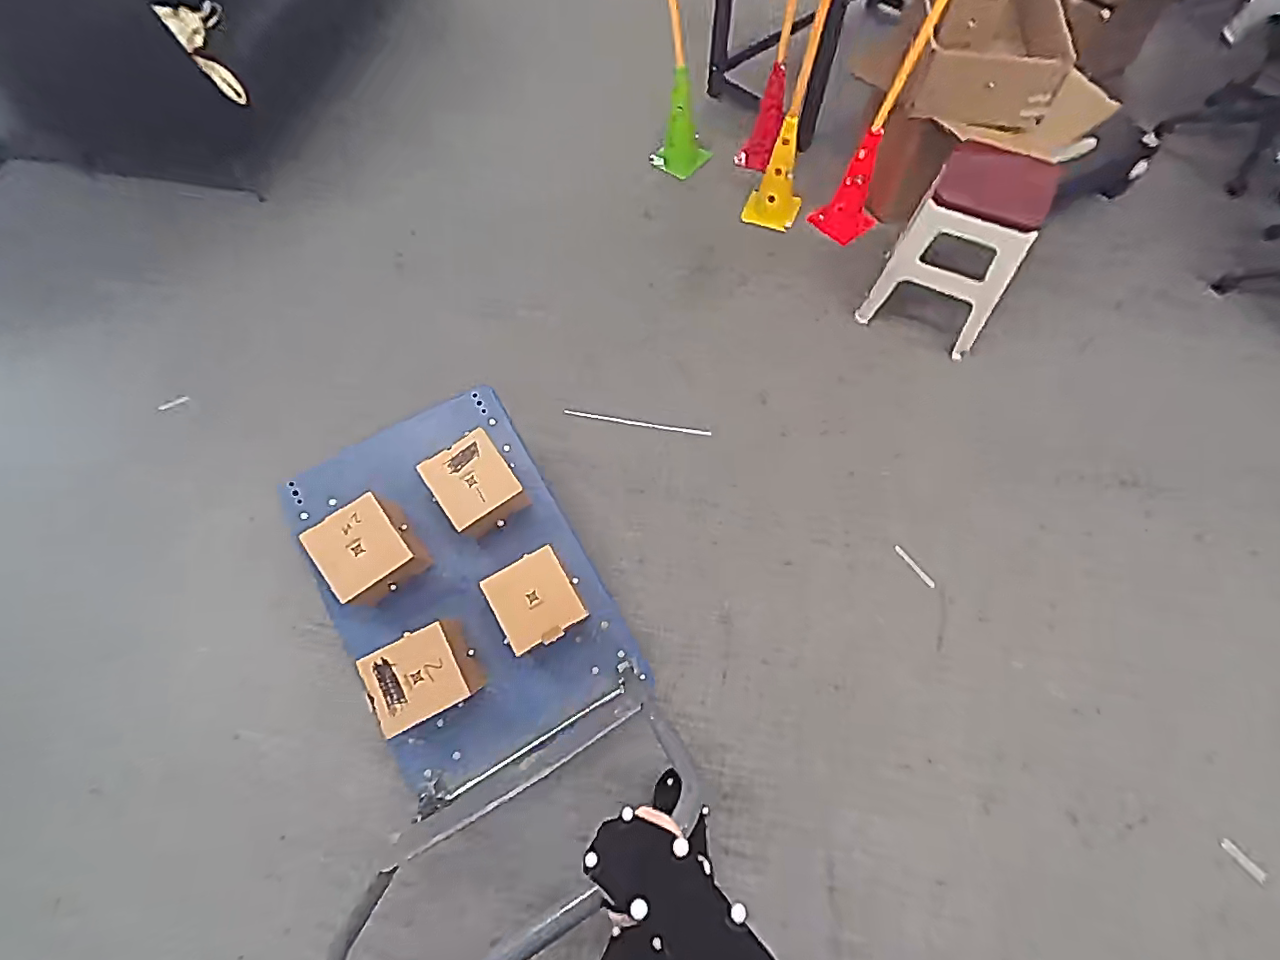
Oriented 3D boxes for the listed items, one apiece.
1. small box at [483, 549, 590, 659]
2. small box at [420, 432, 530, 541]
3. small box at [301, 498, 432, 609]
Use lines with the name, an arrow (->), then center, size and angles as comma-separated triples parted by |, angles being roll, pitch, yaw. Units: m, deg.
small box -> -0.226, 0.275, 1.203 | 0.168, 0.176, 0.179 | -29, 82, -11
small box -> -0.372, 0.023, 1.247 | 0.168, 0.176, 0.179 | -34, 83, -12
small box -> -0.590, 0.165, 1.192 | 0.168, 0.176, 0.179 | -35, 82, -13
